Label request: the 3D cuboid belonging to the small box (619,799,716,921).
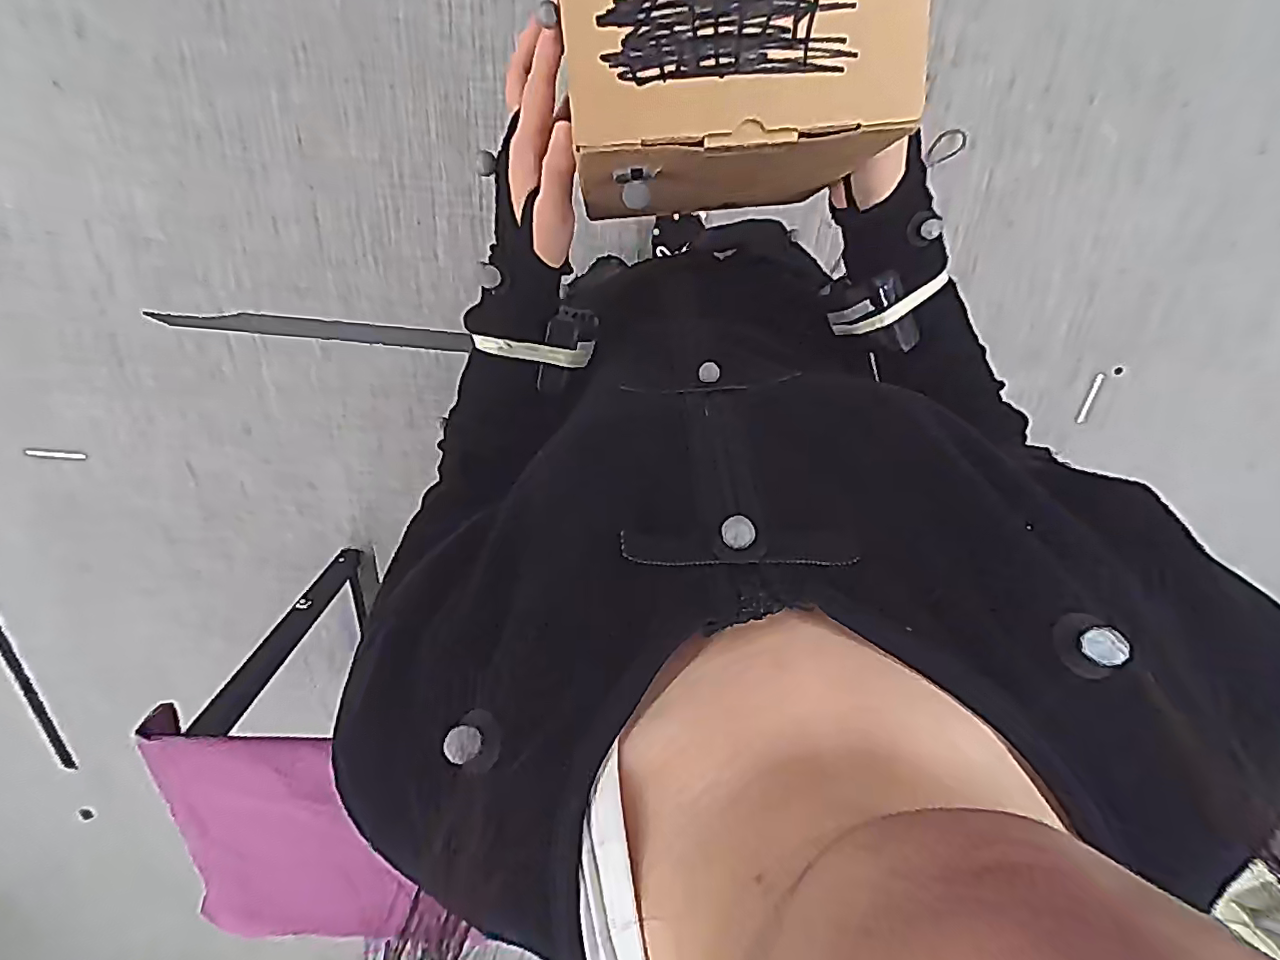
[{"bbox_3d":[0.046,0.748,1.037,0.168,0.176,0.179,1,116,-2],"label":"small box"}]
